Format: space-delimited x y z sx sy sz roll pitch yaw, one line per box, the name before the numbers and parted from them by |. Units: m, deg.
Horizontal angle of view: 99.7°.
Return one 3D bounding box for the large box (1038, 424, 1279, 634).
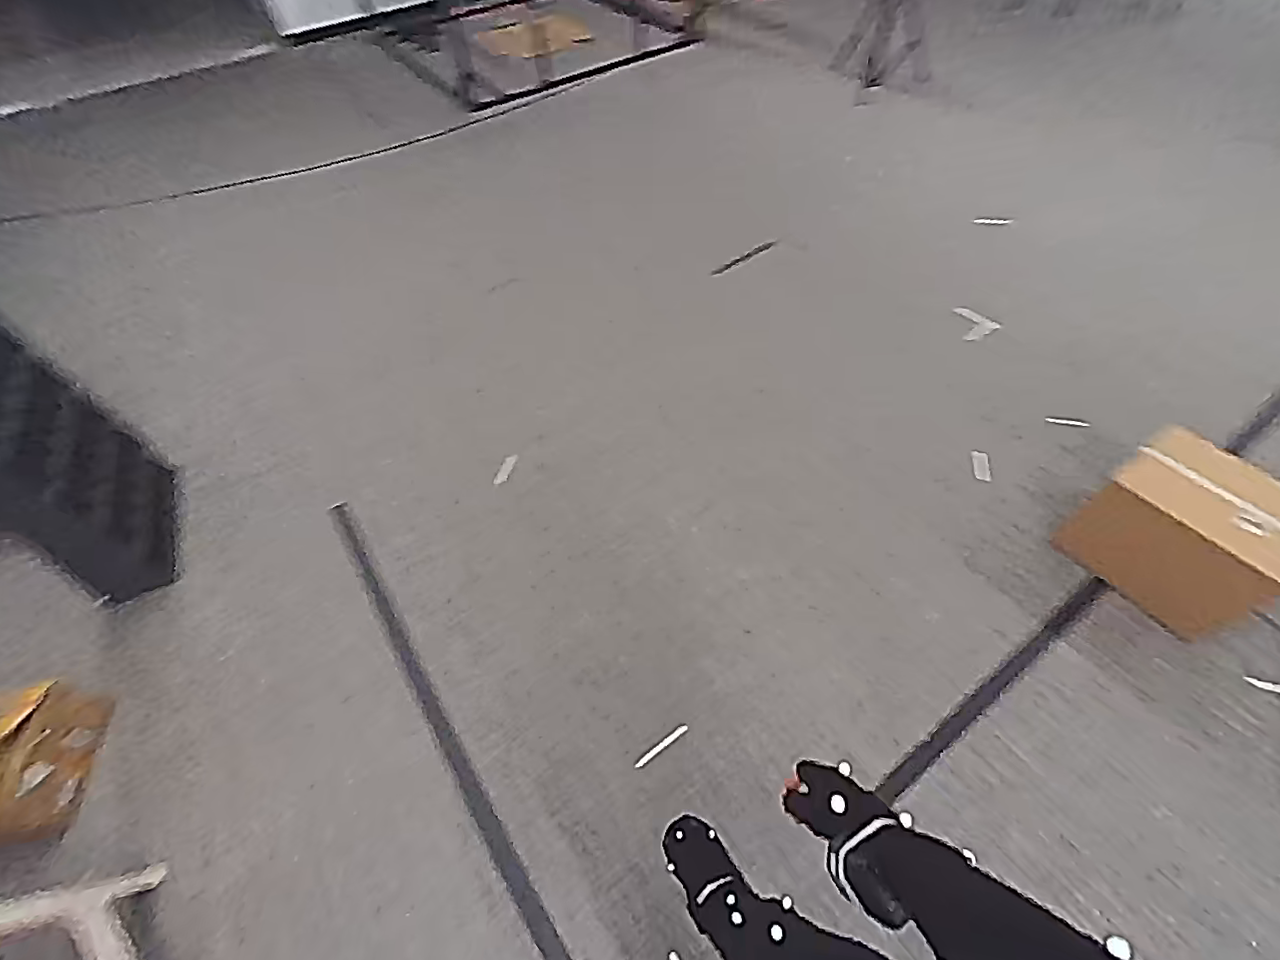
large box | 1.427 0.128 1.465 0.320 0.320 0.408 -32 59 -19
